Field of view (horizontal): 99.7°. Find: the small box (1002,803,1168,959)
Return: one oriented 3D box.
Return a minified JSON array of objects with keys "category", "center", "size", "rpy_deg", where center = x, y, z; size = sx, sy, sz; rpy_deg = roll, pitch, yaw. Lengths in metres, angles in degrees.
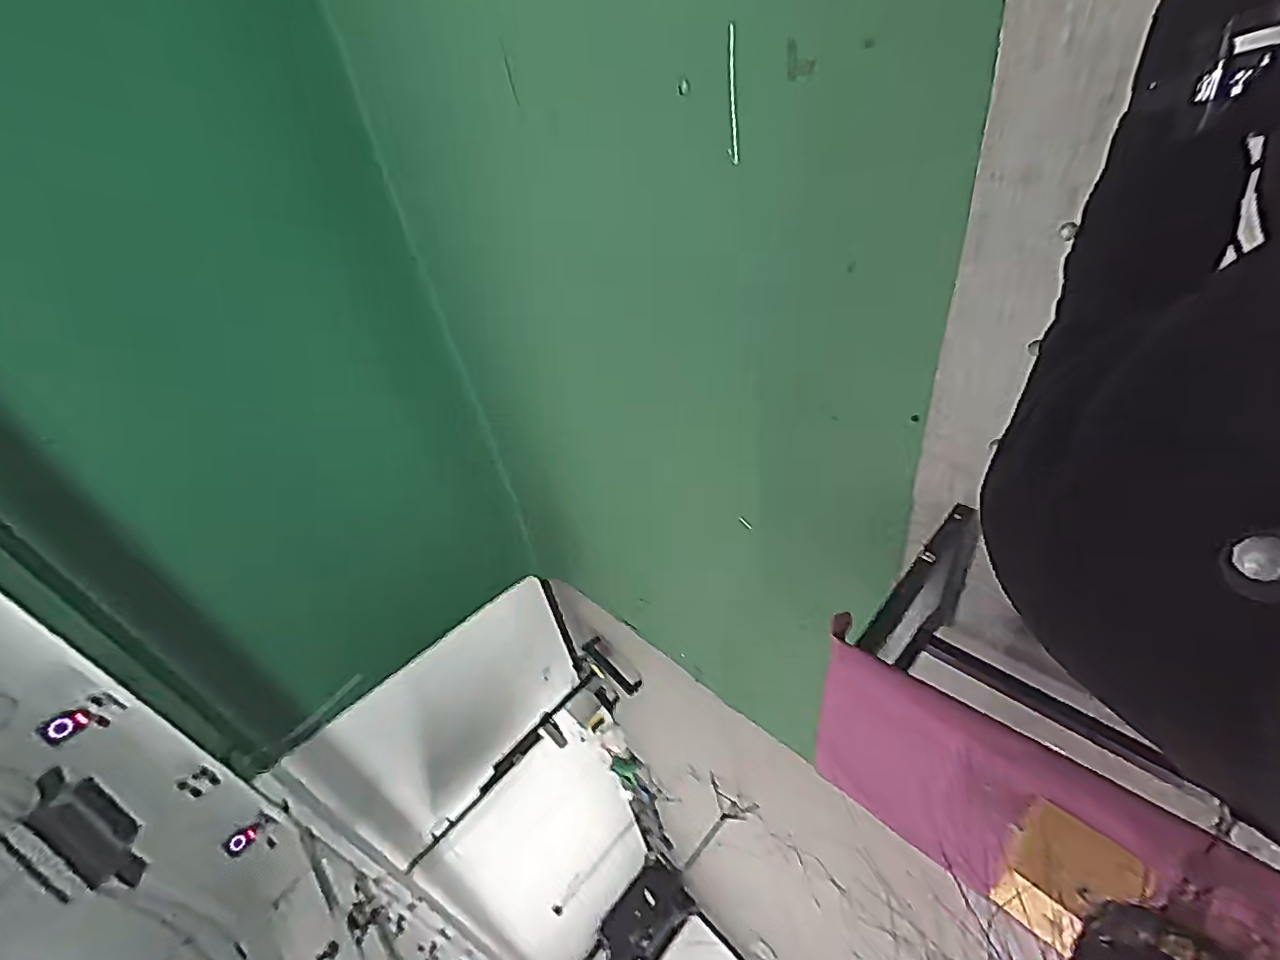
[{"category":"small box","center":[0.813,0.745,0.993],"size":[0.179,0.176,0.168],"rpy_deg":[28,143,37]}]
